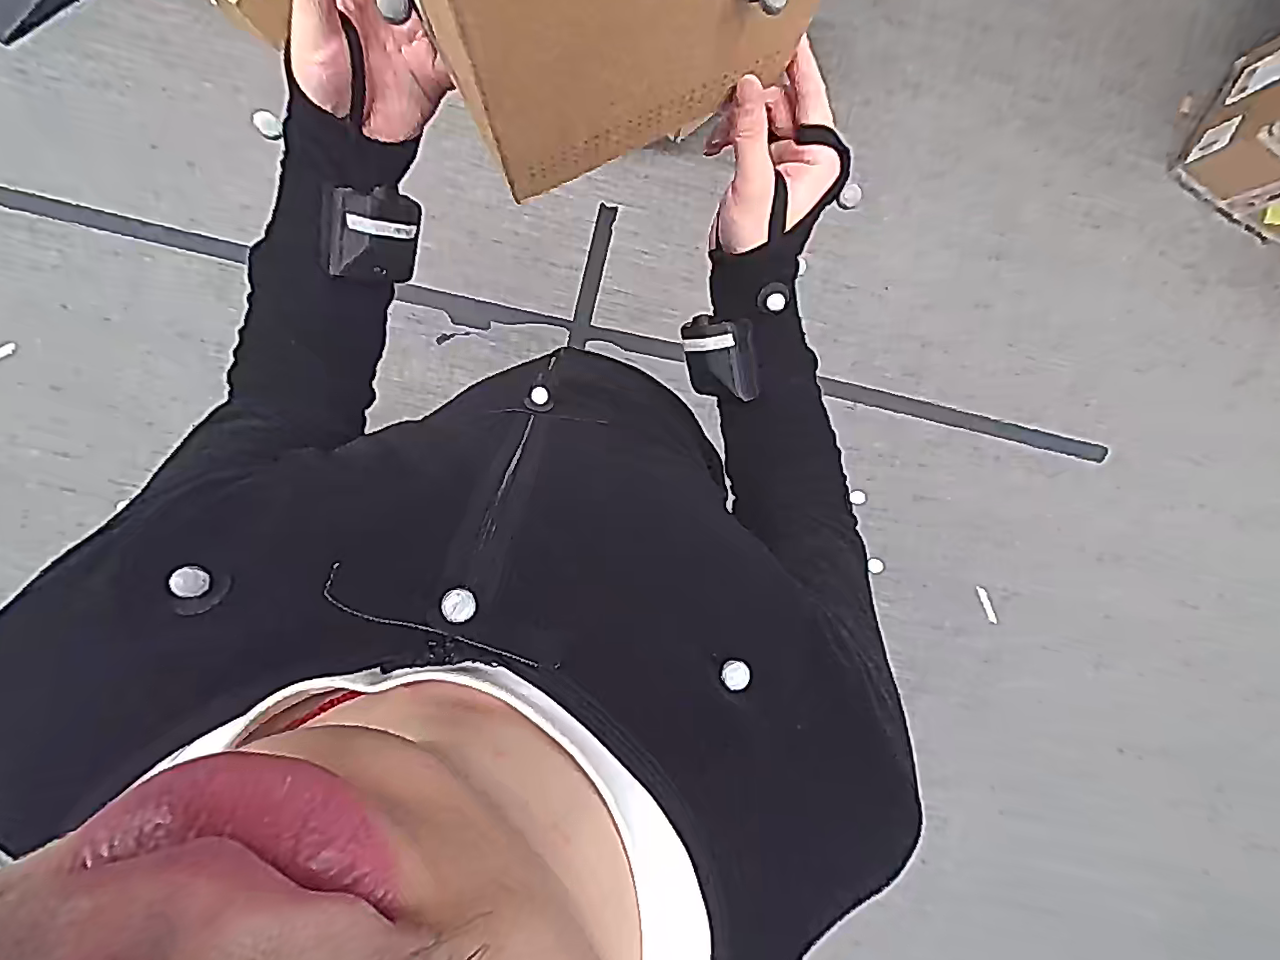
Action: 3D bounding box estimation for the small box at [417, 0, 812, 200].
[{"bbox_3d":[-0.020,-0.268,0.238,0.179,0.176,0.168,-29,93,-3],"label":"small box"}]
